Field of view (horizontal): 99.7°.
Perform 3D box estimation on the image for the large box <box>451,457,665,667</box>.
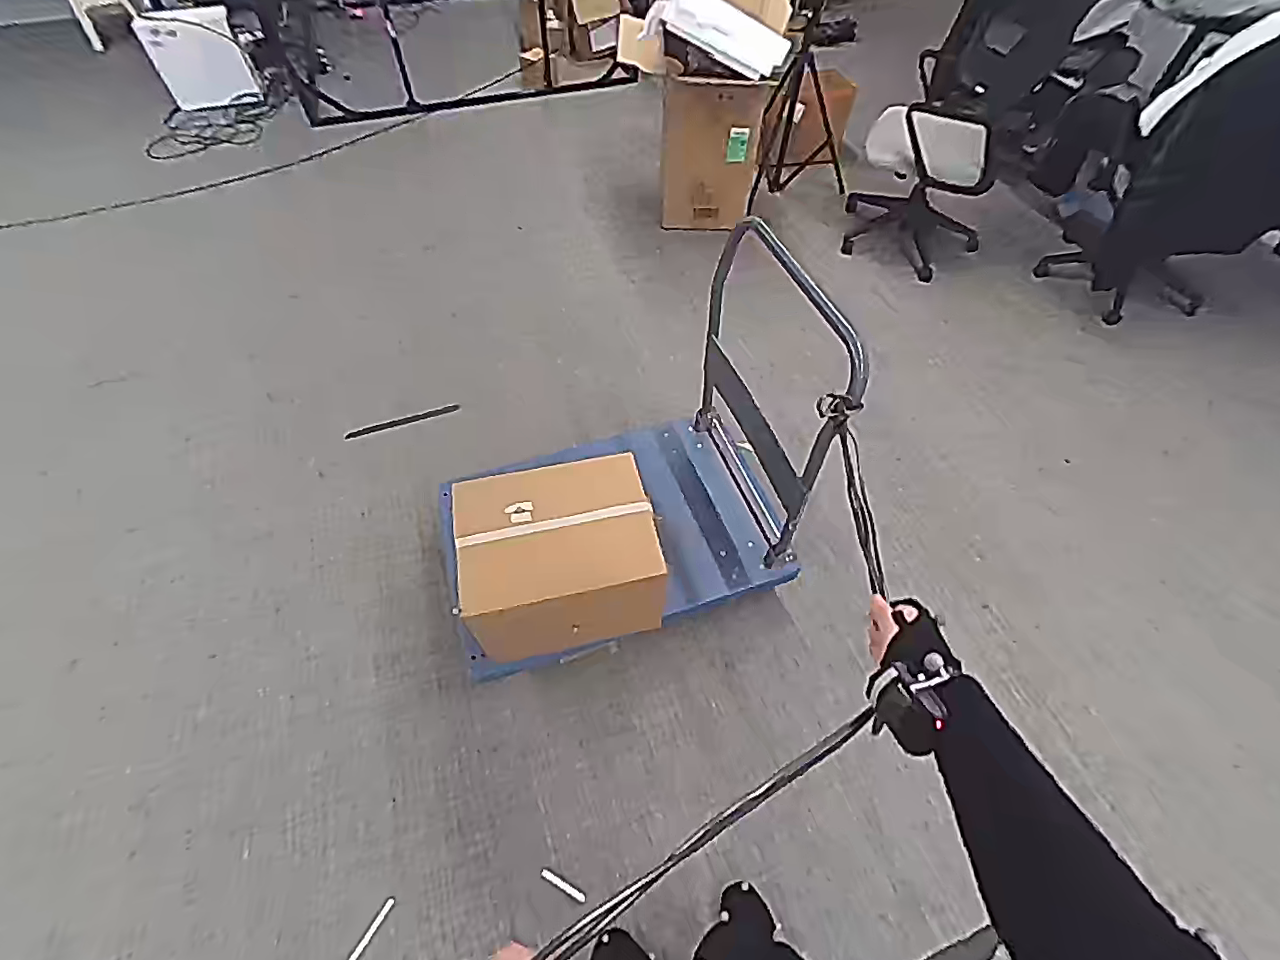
[{"bbox_3d":[-0.179,0.191,1.231,0.408,0.320,0.320,-11,55,-8],"label":"large box"}]
